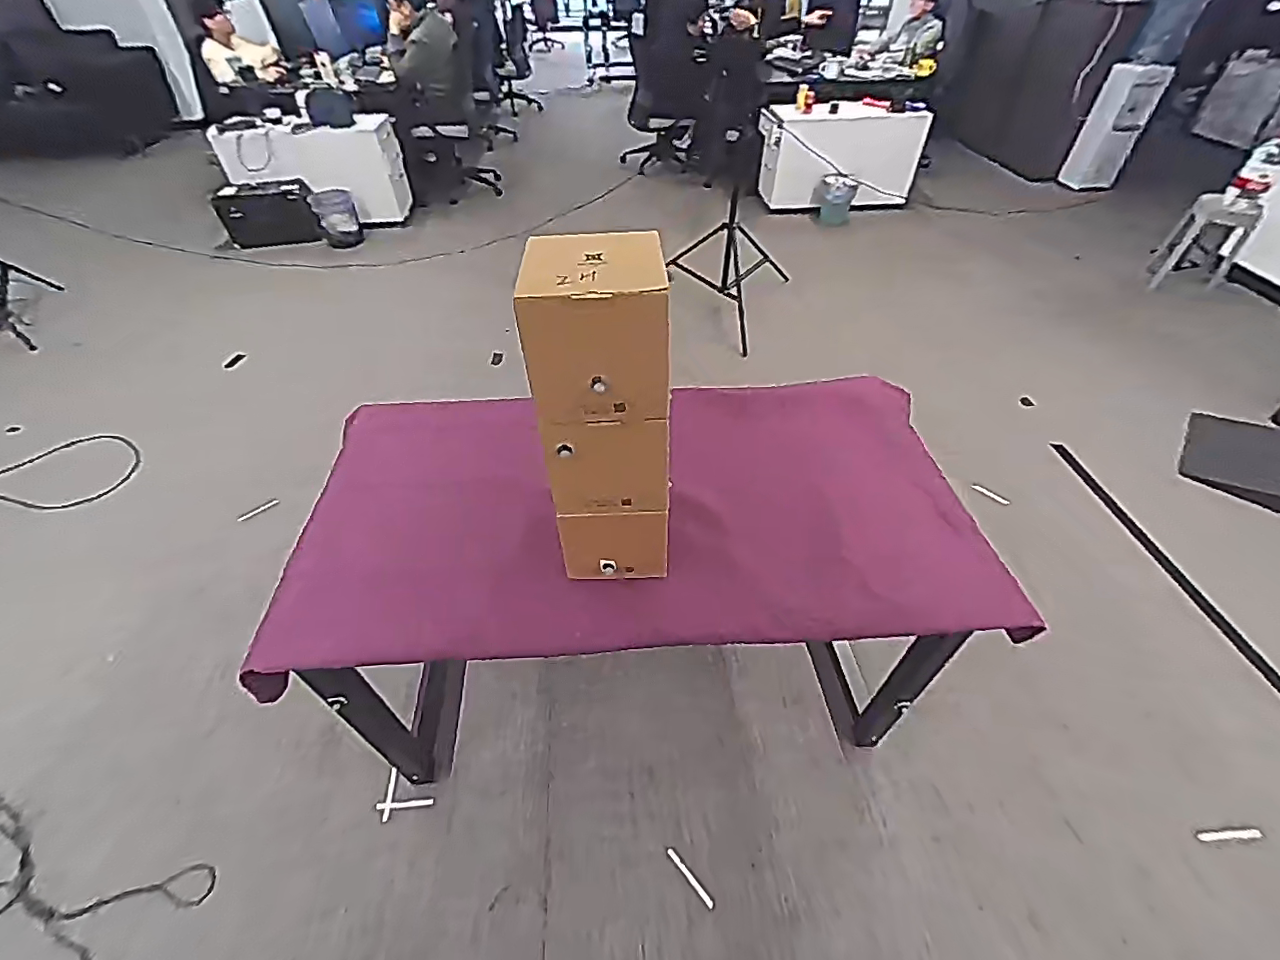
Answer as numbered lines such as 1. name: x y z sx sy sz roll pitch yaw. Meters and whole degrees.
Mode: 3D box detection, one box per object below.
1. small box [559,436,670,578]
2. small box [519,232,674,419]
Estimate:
1. small box: -0.039 0.045 0.907 0.168 0.176 0.179 -2 46 -1
2. small box: -0.048 -0.195 0.680 0.168 0.176 0.179 -3 44 -1
